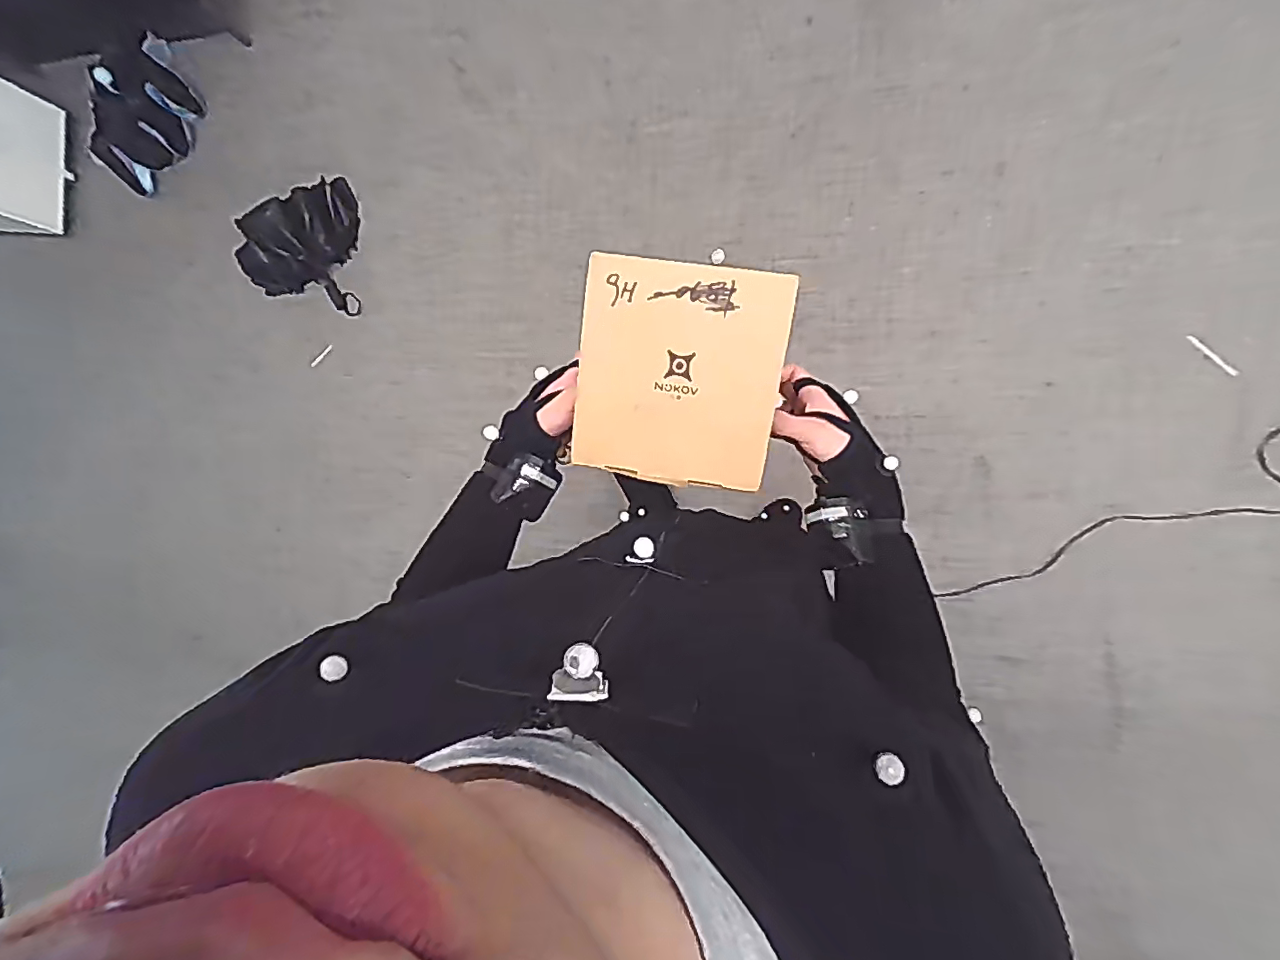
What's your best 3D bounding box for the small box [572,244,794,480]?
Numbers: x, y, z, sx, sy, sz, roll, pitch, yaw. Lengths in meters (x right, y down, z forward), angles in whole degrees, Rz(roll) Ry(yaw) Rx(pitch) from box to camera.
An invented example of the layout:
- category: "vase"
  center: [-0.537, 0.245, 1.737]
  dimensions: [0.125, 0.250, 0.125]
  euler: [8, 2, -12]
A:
- category: "small box"
  center: [0.040, -0.115, 0.518]
  dimensions: [0.168, 0.176, 0.179]
  euler: [8, 107, 5]
